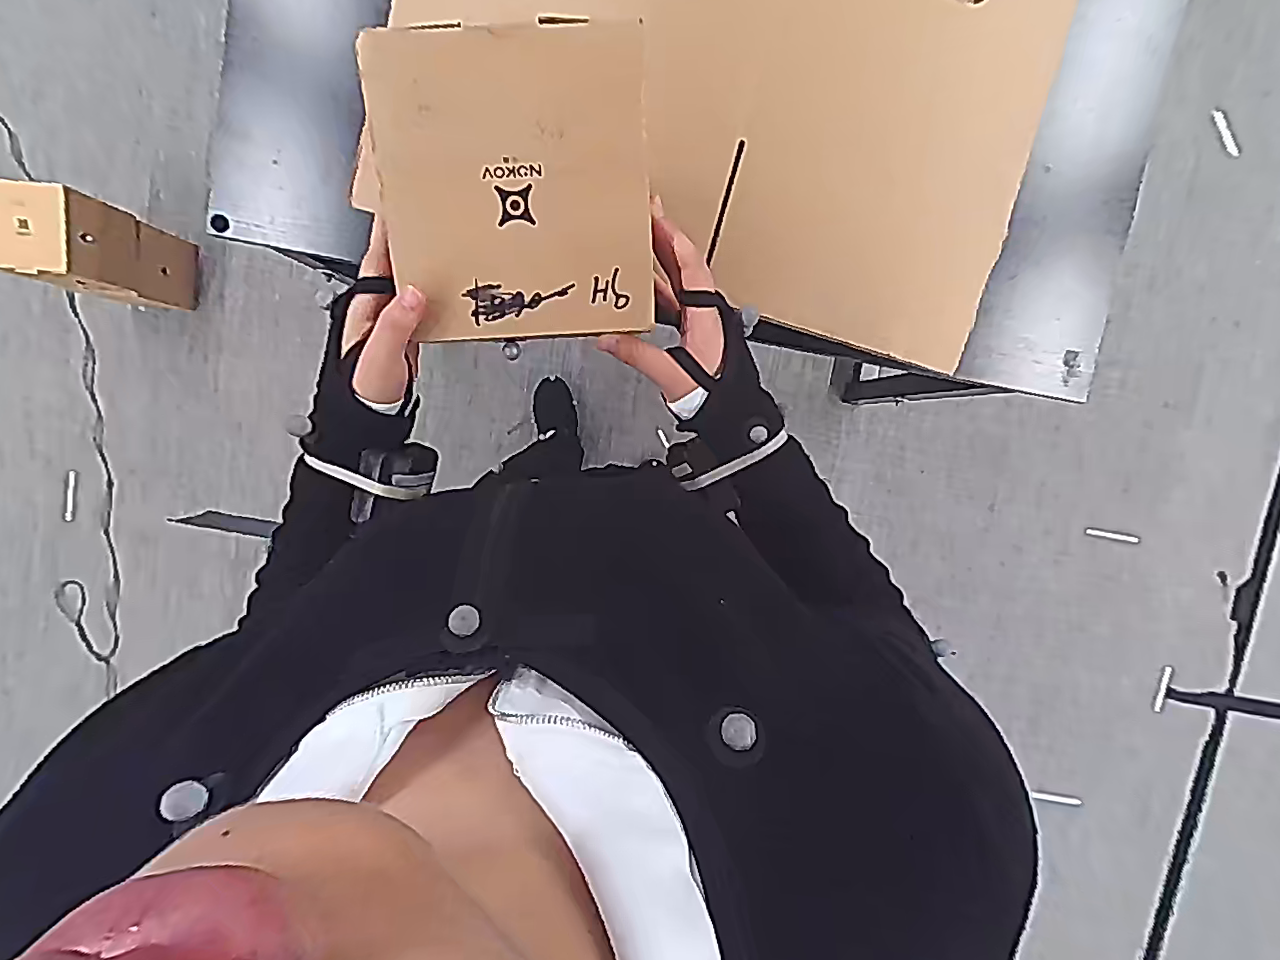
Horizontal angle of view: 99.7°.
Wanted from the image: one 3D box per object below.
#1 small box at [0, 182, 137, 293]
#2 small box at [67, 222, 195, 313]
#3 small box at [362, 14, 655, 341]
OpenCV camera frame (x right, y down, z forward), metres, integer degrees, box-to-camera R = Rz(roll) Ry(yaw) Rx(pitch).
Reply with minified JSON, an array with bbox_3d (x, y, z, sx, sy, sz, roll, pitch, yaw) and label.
[{"bbox_3d":[-1.234,-0.511,1.161,0.168,0.176,0.179,3,95,-2],"label":"small box"},{"bbox_3d":[-1.236,-0.521,1.323,0.168,0.176,0.179,6,96,-2],"label":"small box"},{"bbox_3d":[-0.077,-0.200,0.407,0.168,0.176,0.179,-3,104,0],"label":"small box"}]
